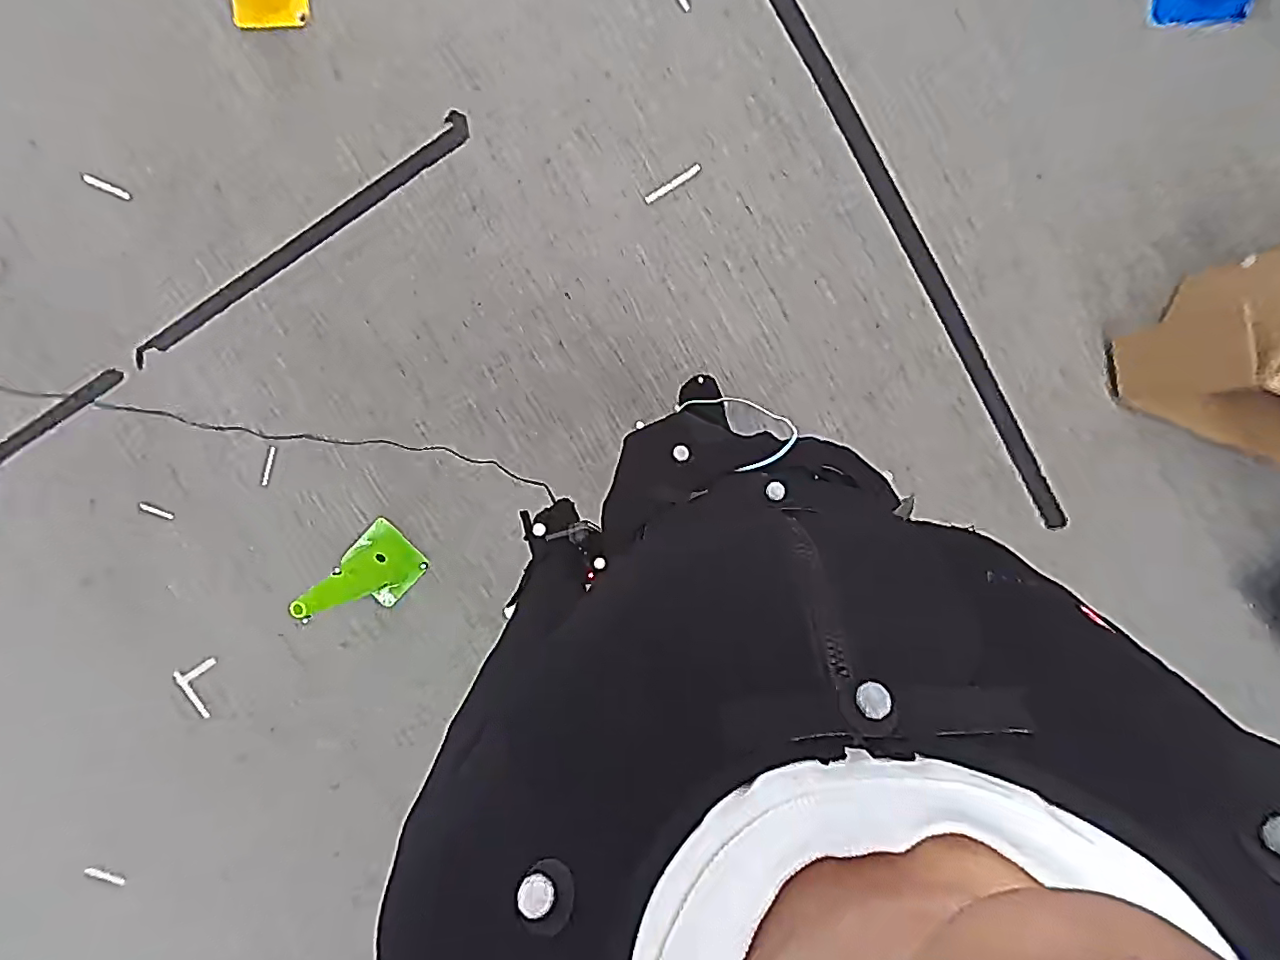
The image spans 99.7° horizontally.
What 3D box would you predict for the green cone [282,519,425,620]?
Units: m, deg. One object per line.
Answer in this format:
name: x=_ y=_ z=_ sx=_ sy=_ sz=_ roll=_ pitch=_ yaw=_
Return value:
green cone: x=-0.756 y=0.261 z=1.374 sx=0.200 sy=0.368 sz=0.202 roll=45 pitch=101 yaw=-1
